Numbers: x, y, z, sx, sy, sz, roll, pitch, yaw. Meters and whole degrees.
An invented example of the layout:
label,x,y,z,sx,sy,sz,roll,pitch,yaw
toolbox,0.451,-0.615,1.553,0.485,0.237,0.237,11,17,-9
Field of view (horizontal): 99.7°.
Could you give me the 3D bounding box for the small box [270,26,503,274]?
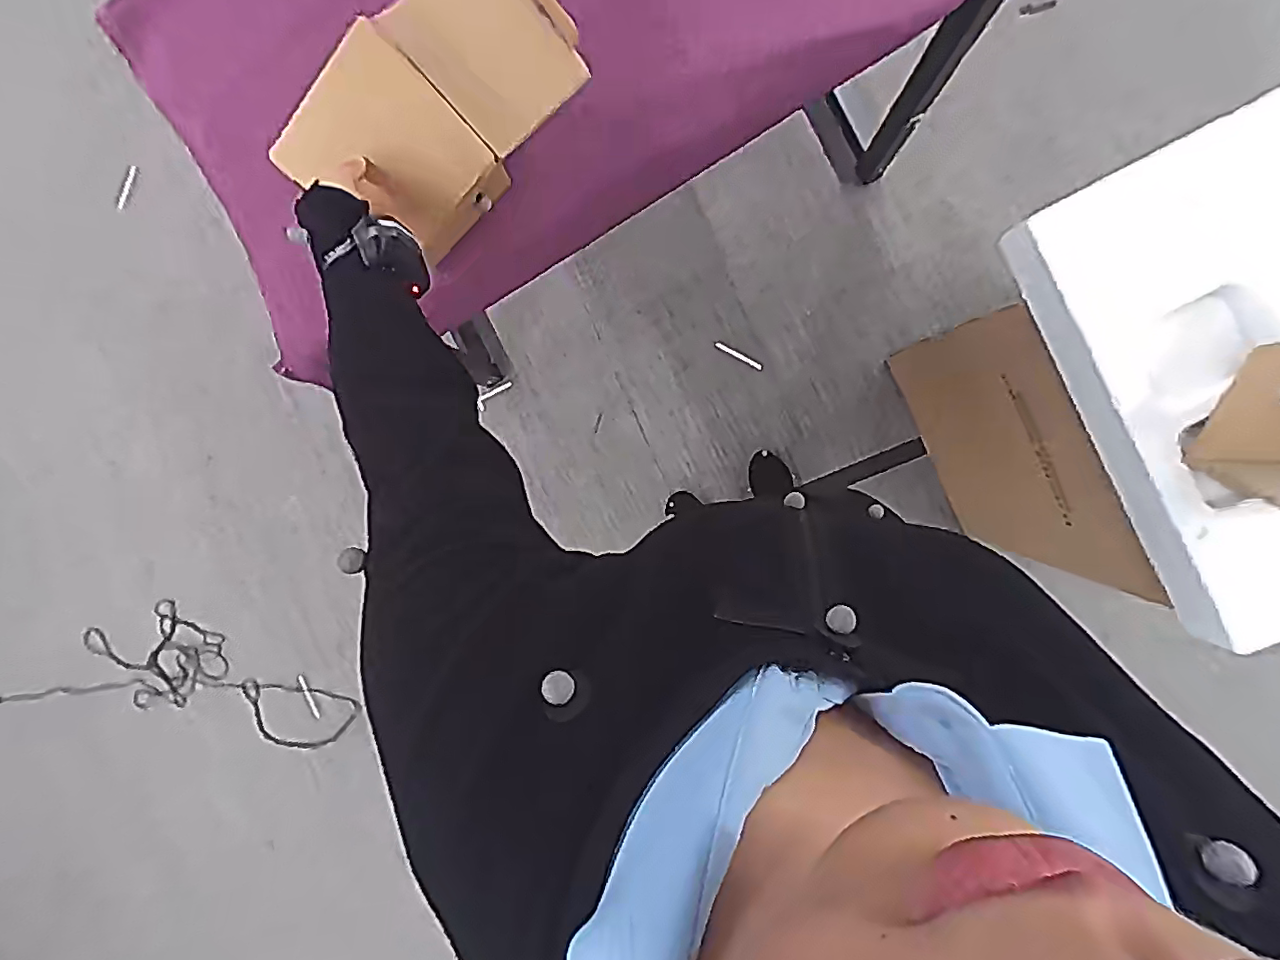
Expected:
label,x,y,z,sx,sy,sz,roll,pitch,yaw
small box,-0.283,-0.374,0.649,0.179,0.176,0.168,-41,112,7
